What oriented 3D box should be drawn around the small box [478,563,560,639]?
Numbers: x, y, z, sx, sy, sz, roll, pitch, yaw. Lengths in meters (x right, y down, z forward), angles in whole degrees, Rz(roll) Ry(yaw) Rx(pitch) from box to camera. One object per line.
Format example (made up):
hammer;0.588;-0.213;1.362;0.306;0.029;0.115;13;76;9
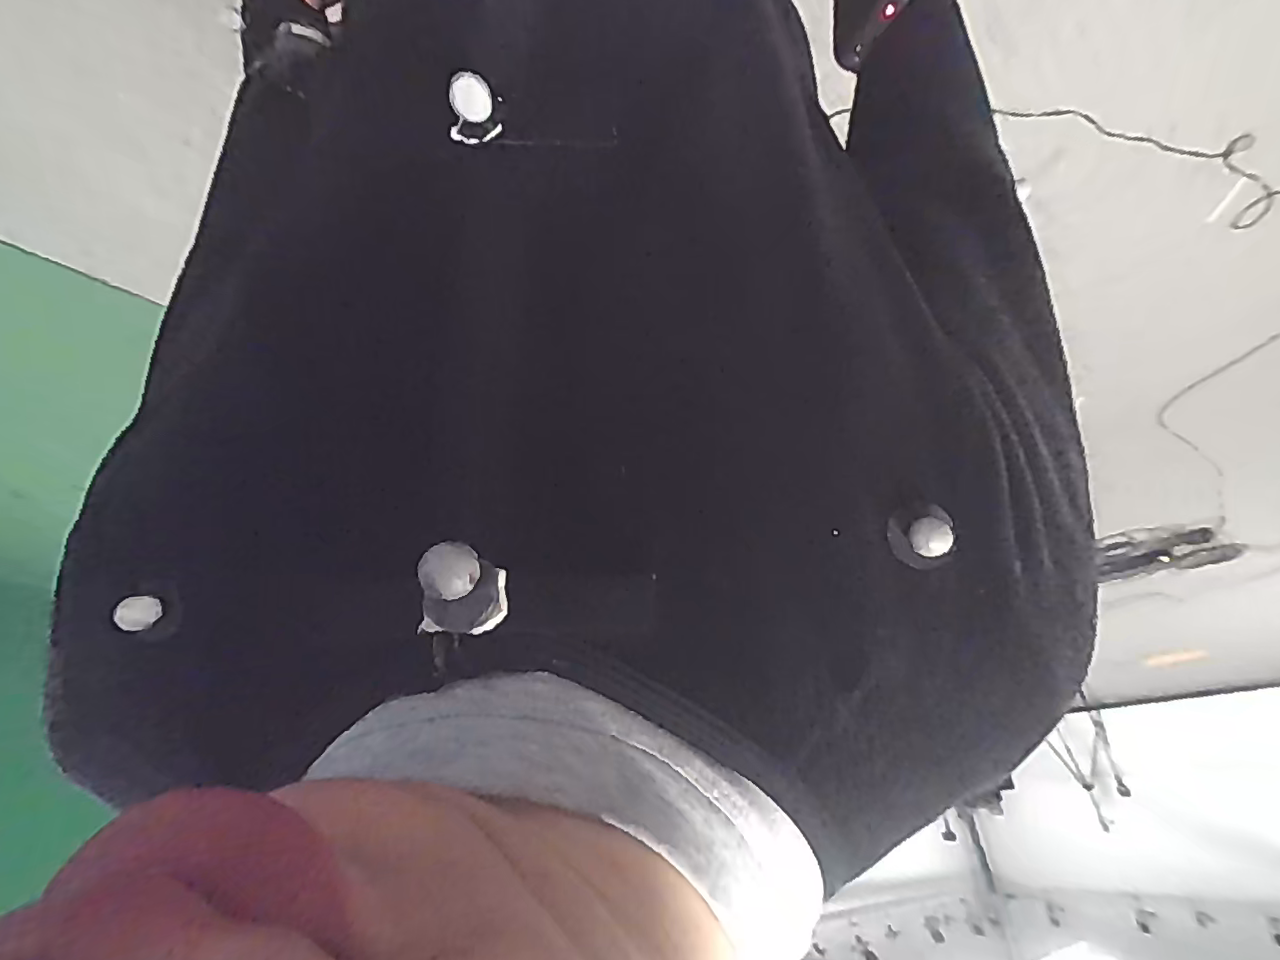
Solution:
small box;-0.357;0.364;1.624;0.168;0.176;0.179;-29;138;36
